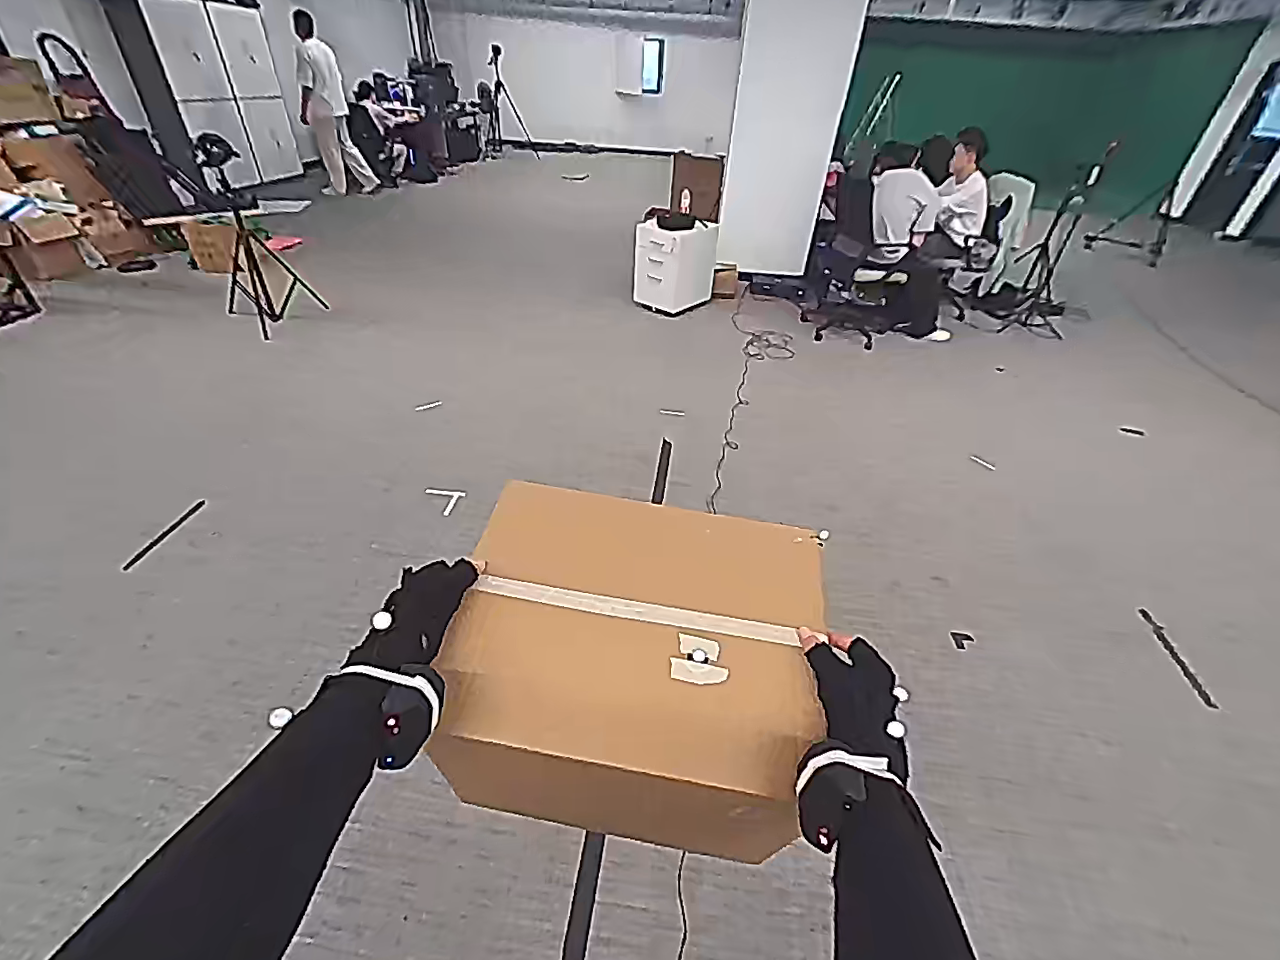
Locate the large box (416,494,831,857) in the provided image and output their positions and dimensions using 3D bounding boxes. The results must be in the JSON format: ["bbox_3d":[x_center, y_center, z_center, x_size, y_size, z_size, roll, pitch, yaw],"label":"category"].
[{"bbox_3d":[-0.012,0.257,0.712,0.408,0.320,0.320,10,48,3],"label":"large box"}]
